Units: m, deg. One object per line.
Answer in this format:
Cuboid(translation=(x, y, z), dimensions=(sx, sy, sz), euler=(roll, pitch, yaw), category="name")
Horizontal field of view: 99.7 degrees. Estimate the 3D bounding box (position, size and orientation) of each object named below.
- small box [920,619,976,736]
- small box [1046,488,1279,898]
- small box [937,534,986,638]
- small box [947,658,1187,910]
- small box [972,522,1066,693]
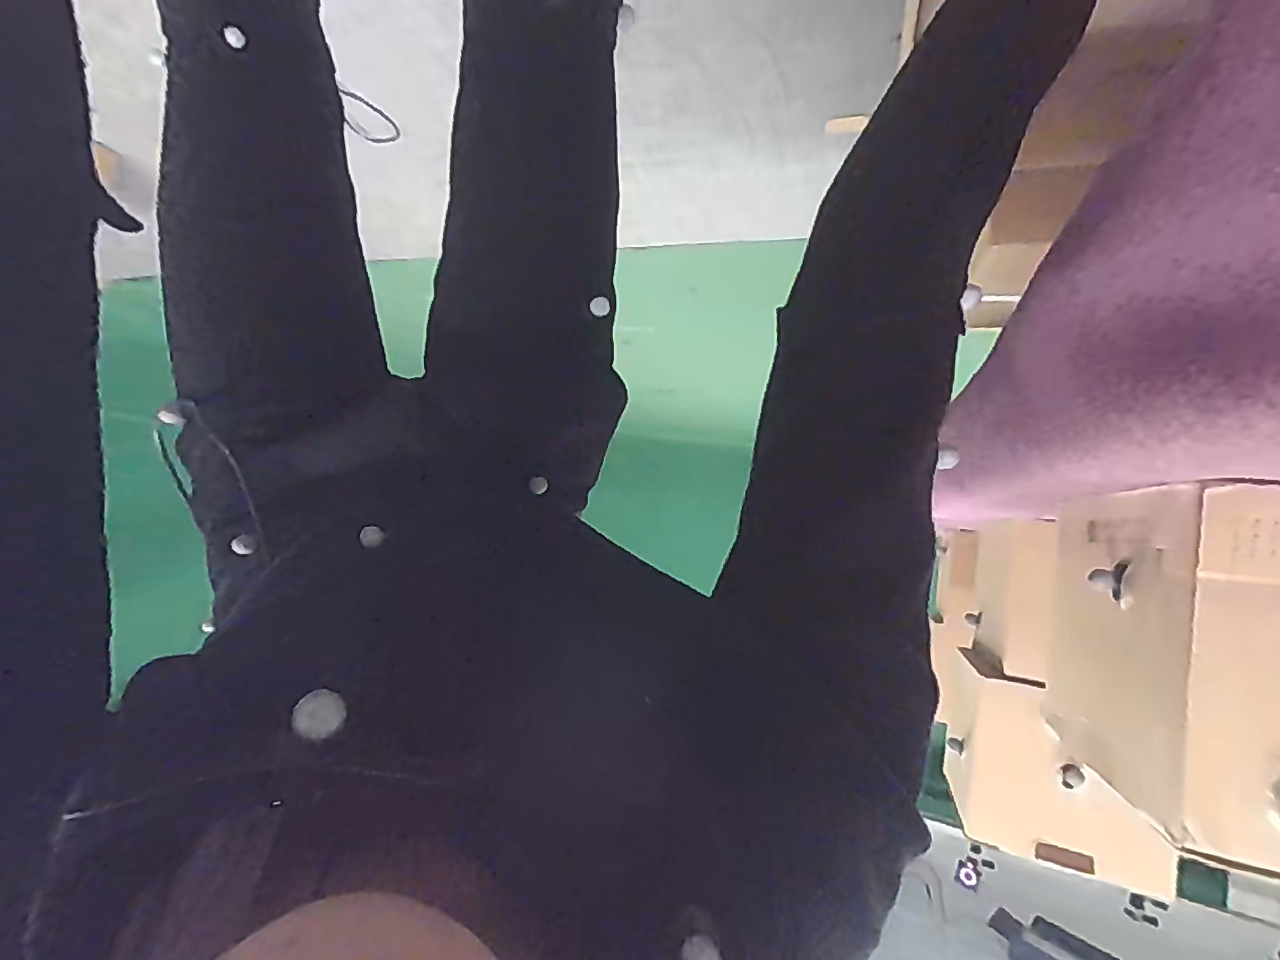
Cuboid(translation=(0.598, 0.348, 0.940), dimensions=(0.179, 0.176, 0.168), euler=(6, 174, 24), category="small box")
Cuboid(translation=(0.346, 0.097, 0.278), dimensions=(0.179, 0.176, 0.168), euler=(6, 176, 21), category="small box")
Cuboid(translation=(0.625, 0.185, 0.934), dimensions=(0.179, 0.176, 0.168), euler=(5, 174, 24), category="small box")
Cuboid(translation=(0.444, 0.301, 0.588), dimensions=(0.168, 0.176, 0.179), euler=(6, 175, 24), category="small box")
Cuboid(translation=(0.485, 0.142, 0.598), dimensions=(0.168, 0.176, 0.179), euler=(5, 175, 22), category="small box")
